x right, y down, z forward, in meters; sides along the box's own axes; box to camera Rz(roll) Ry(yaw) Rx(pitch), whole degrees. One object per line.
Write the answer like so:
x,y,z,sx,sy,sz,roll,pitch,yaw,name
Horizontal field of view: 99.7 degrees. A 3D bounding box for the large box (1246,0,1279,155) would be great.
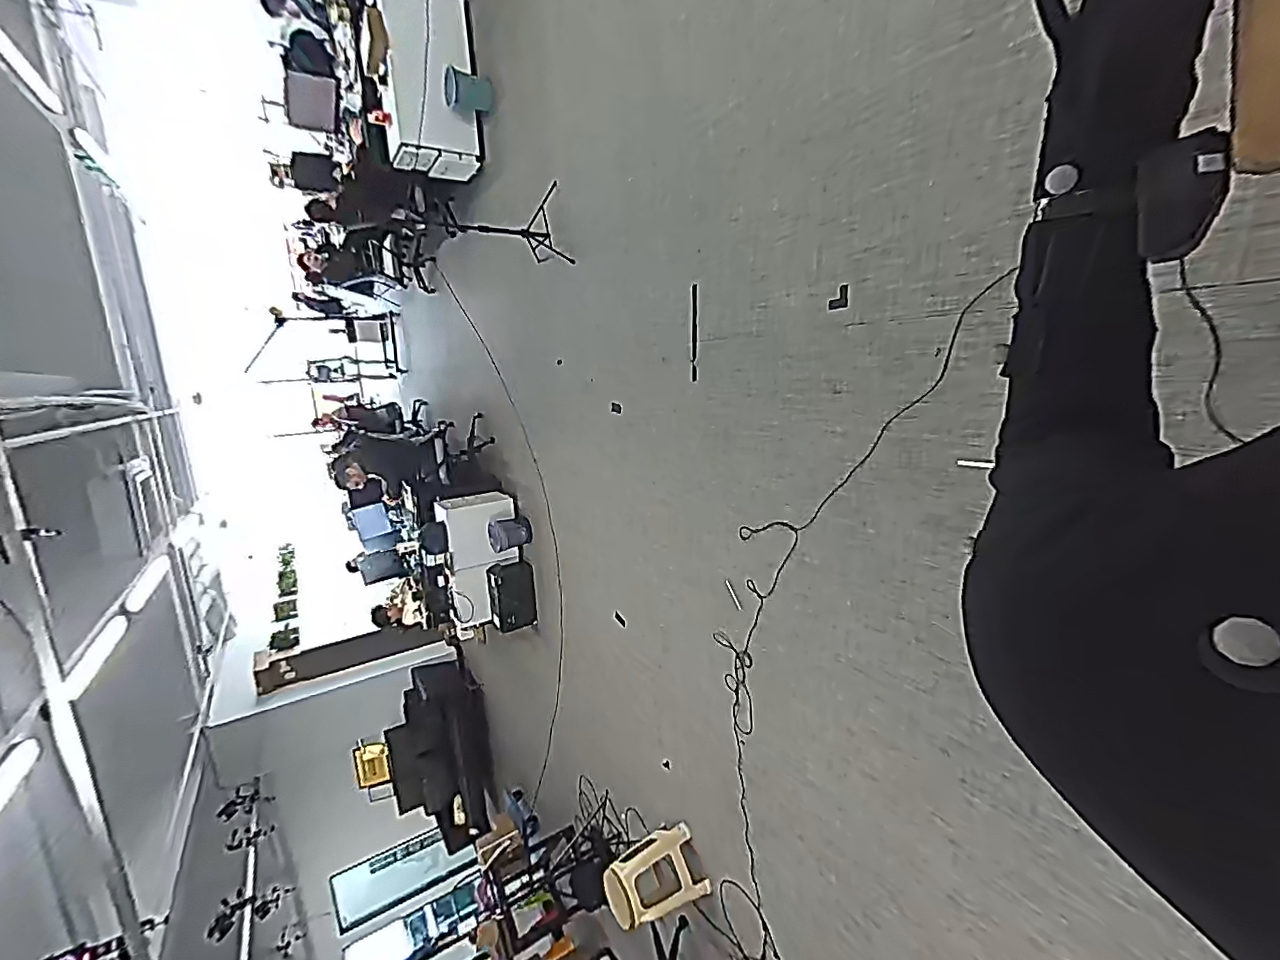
0.522,-0.351,0.175,0.408,0.320,0.320,6,114,56,large box
